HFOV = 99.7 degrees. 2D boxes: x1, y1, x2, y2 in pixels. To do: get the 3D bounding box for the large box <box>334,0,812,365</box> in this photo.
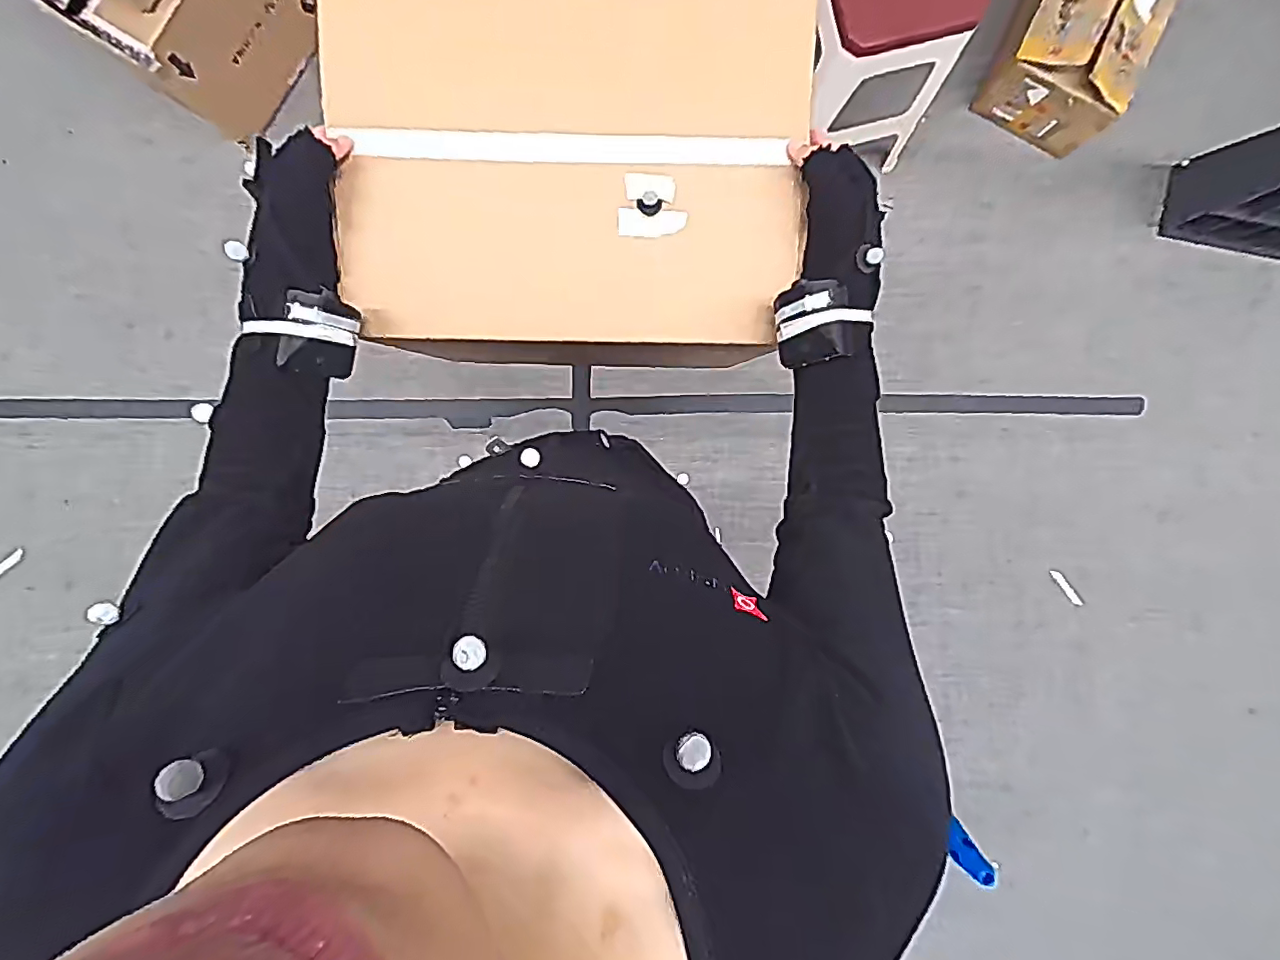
[{"bbox_3d":[-0.060,-0.301,0.611,0.408,0.320,0.320,0,98,-3],"label":"large box"}]
